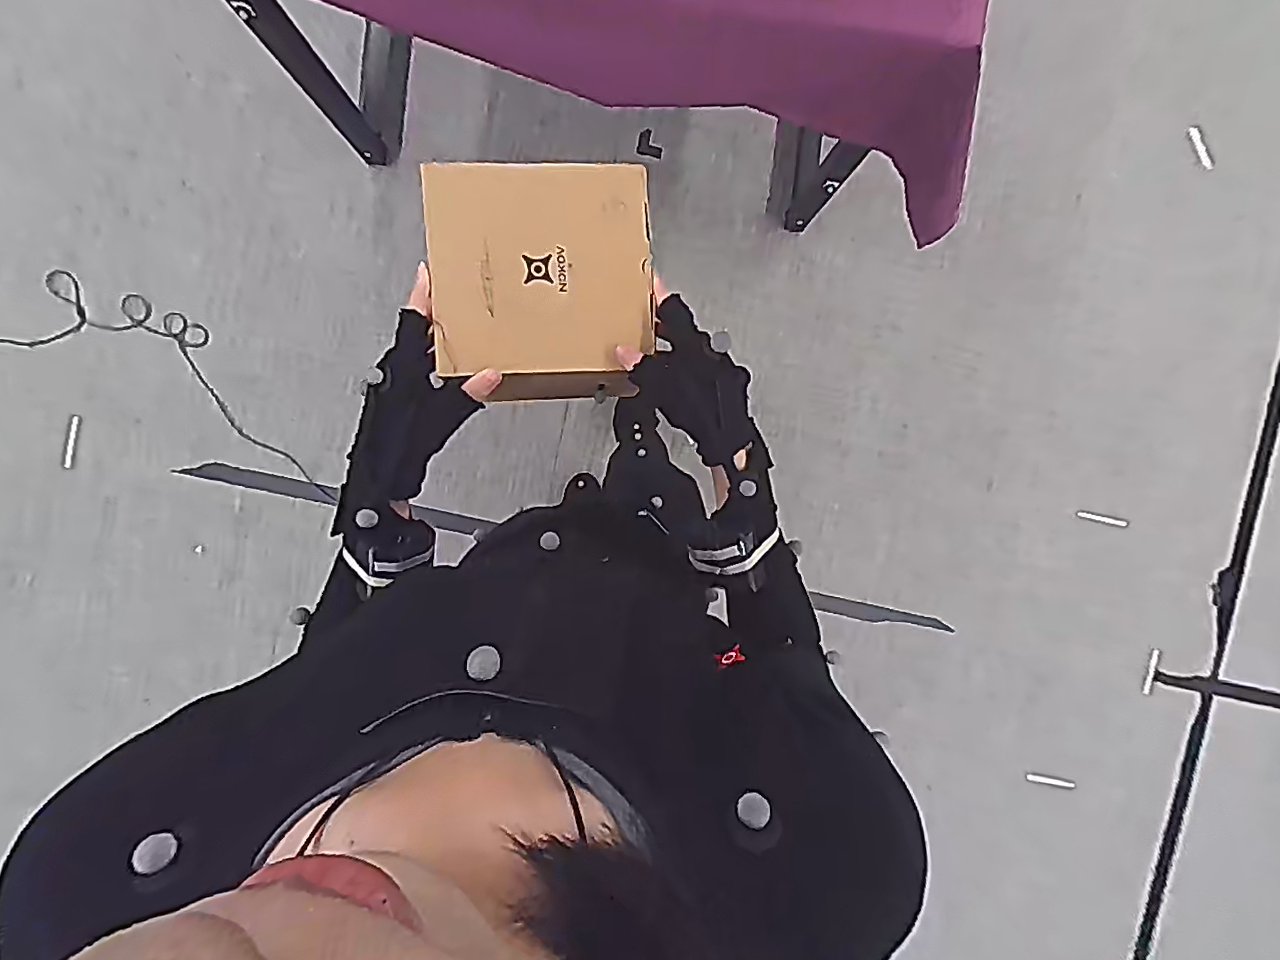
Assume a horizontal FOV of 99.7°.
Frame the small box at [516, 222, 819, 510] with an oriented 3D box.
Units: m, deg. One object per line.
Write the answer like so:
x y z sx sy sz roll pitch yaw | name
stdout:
0.031 -0.104 0.487 0.176 0.168 0.179 -36 95 -44 | small box
